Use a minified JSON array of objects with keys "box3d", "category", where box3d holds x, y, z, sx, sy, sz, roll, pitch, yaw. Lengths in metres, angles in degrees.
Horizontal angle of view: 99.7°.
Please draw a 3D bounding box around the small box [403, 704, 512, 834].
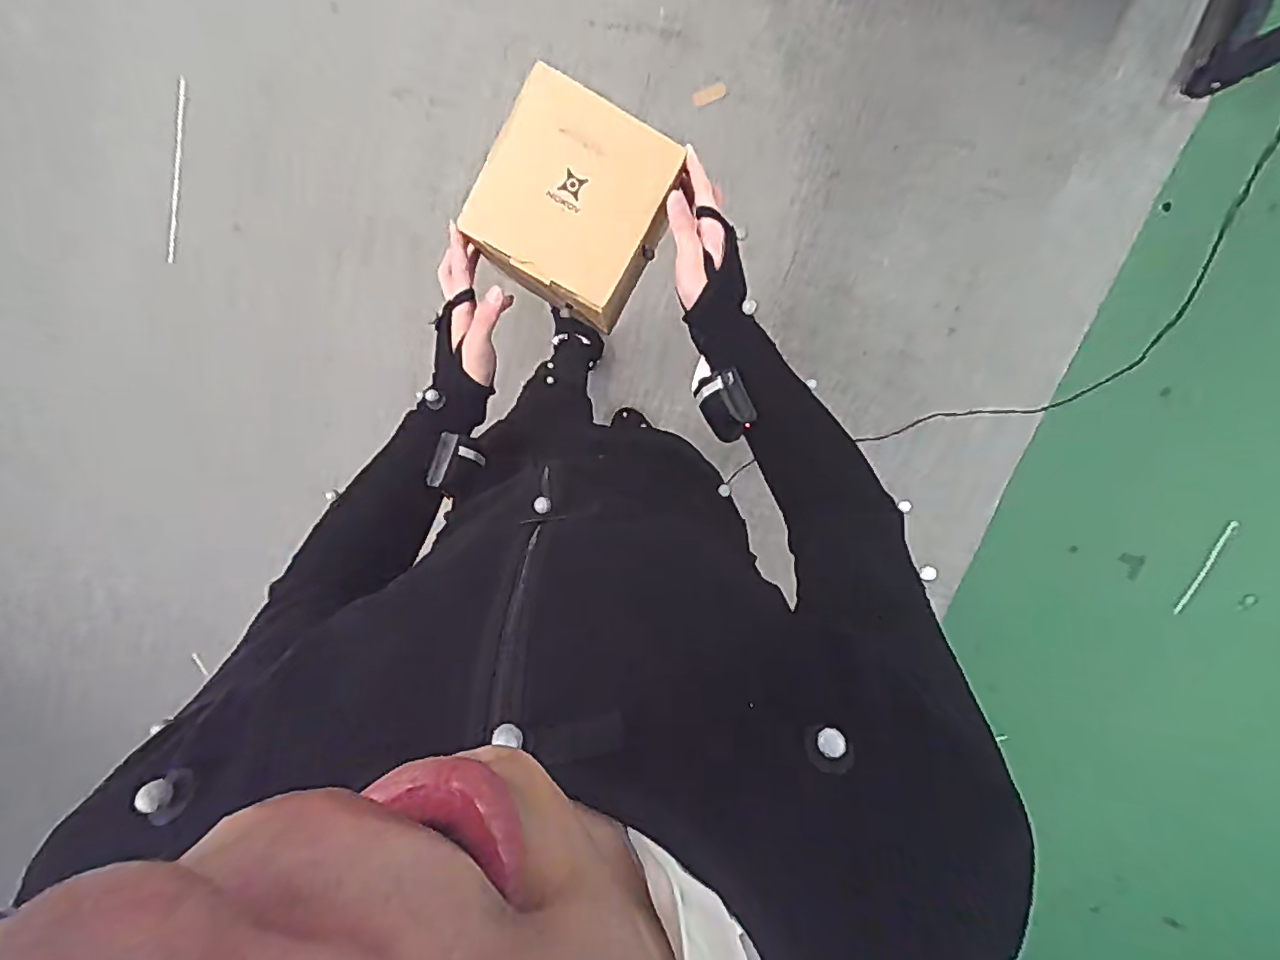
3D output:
[{"box3d":[-0.408,0.655,1.244,0.168,0.176,0.179,23,104,-4],"category":"small box"}]
